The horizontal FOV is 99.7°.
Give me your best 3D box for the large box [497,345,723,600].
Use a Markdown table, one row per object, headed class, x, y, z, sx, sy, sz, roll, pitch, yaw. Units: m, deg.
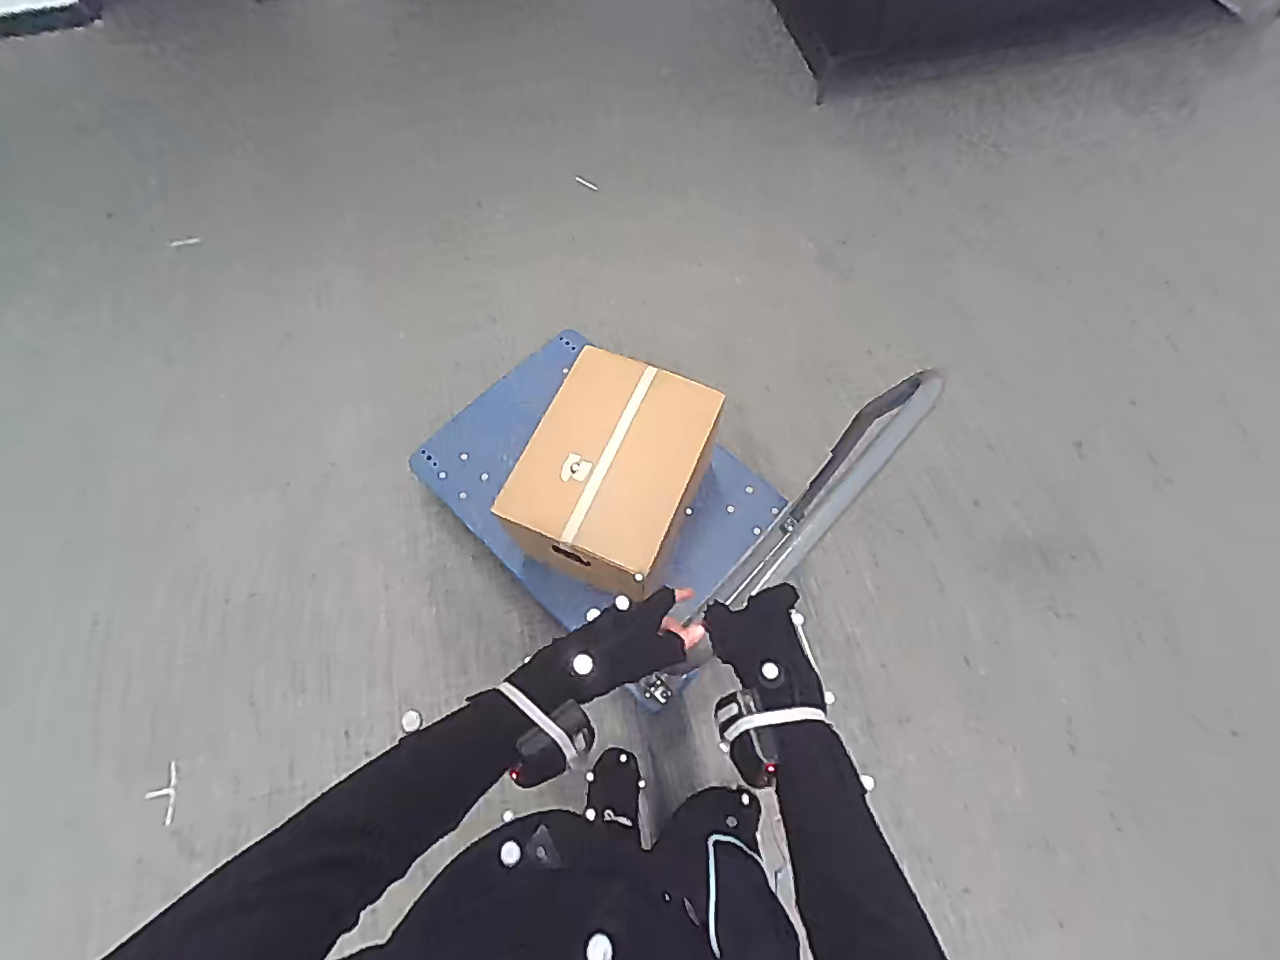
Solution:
| class | x | y | z | sx | sy | sz | roll | pitch | yaw |
| --- | --- | --- | --- | --- | --- | --- | --- | --- | --- |
| large box | -0.048 | -0.004 | 1.172 | 0.320 | 0.320 | 0.408 | 22 | 70 | 10 |
